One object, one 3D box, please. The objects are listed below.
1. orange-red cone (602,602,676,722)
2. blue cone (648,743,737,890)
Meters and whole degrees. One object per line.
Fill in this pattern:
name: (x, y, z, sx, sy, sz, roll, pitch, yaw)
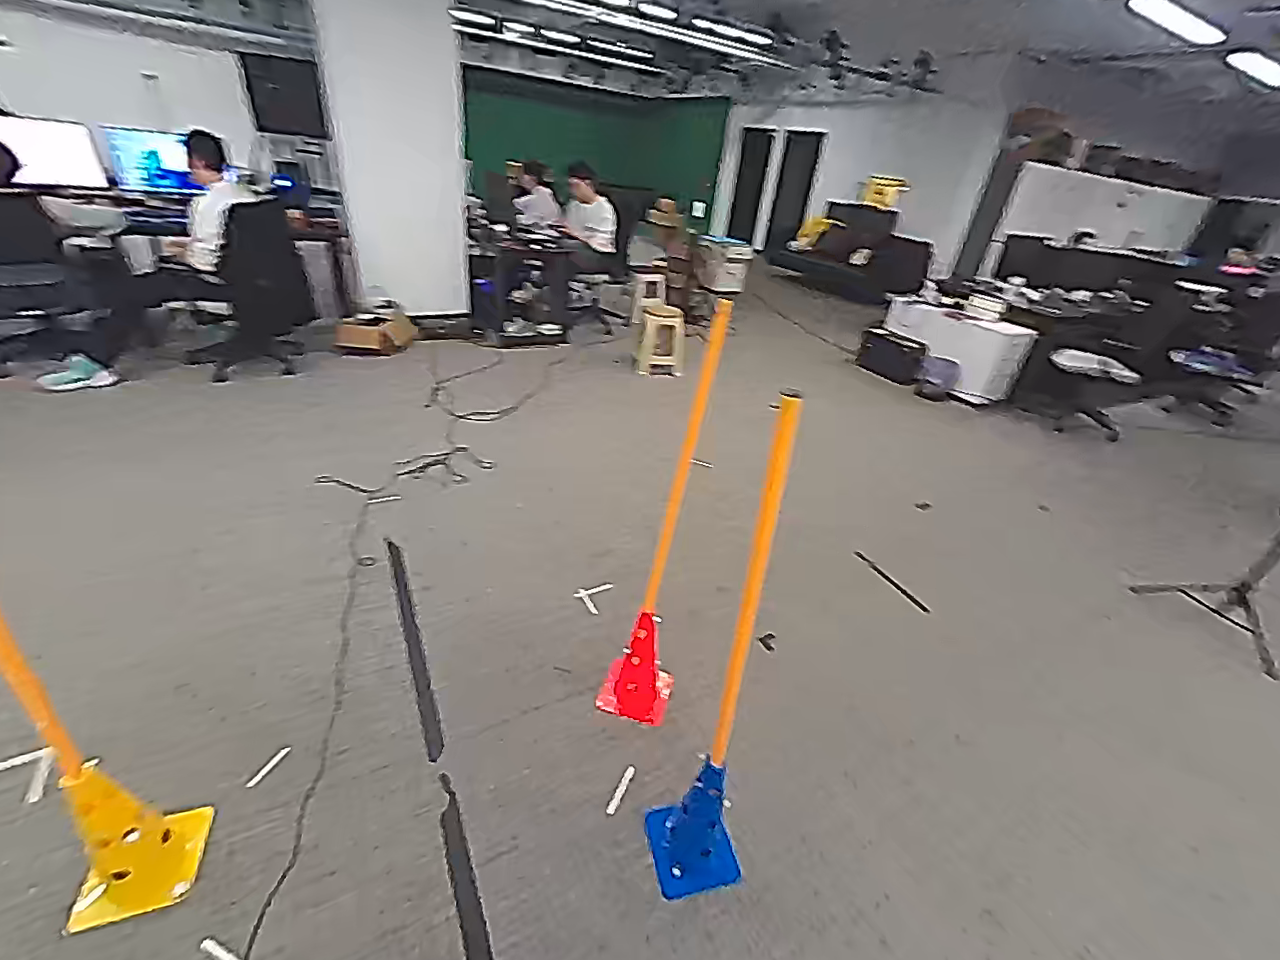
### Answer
orange-red cone: (0.015, 0.502, 1.587, 0.198, 0.360, 0.199, 14, 33, 13)
blue cone: (0.144, 0.743, 1.238, 0.193, 0.380, 0.192, -1, 31, -14)
